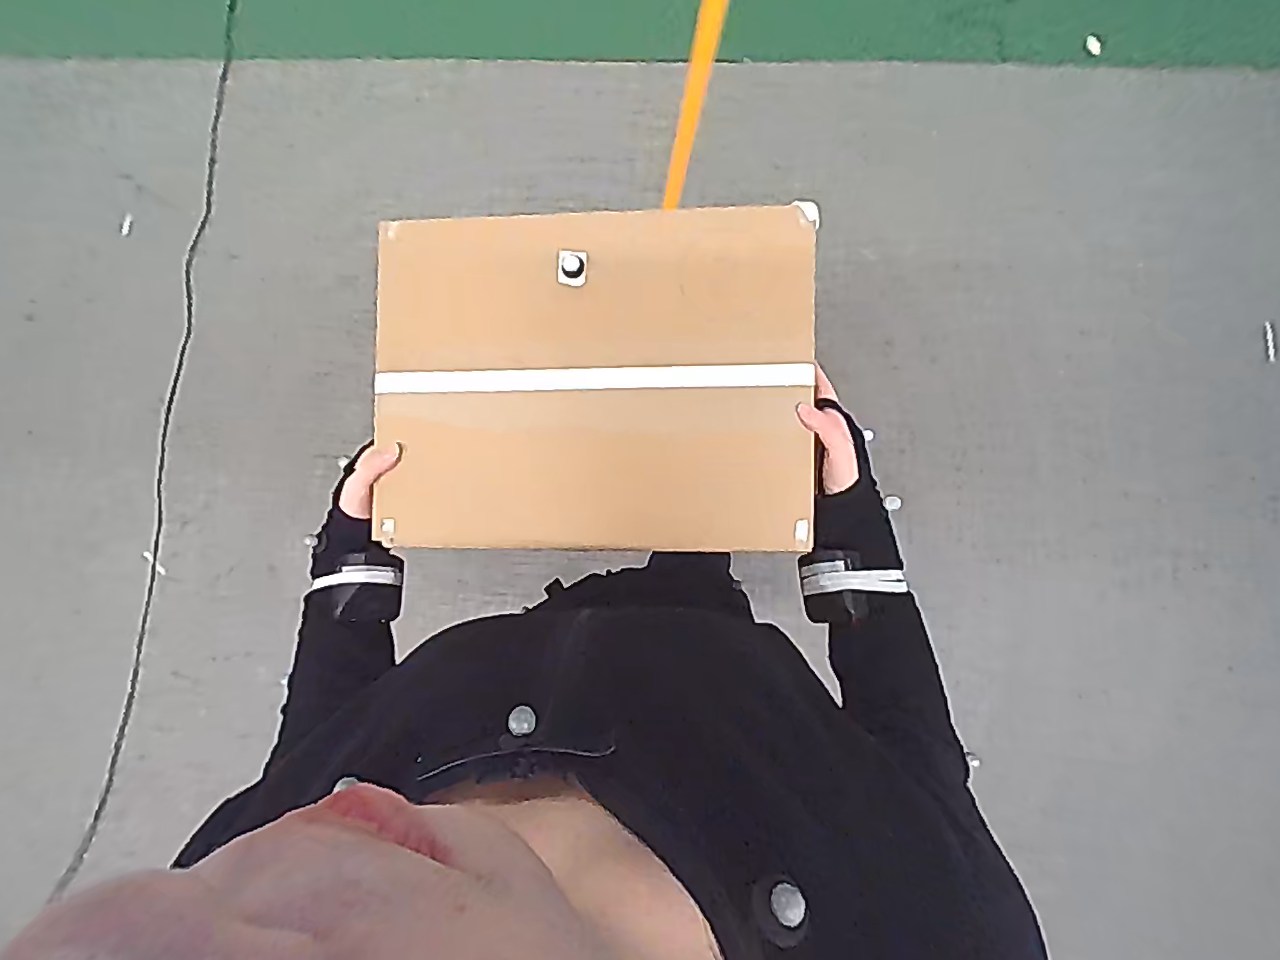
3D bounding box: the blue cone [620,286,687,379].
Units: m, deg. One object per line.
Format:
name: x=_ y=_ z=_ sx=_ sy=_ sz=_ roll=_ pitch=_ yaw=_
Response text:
blue cone: x=0.038 y=-0.409 z=1.407 sx=0.193 sy=0.380 sz=0.192 roll=1 pitch=82 yaw=0
